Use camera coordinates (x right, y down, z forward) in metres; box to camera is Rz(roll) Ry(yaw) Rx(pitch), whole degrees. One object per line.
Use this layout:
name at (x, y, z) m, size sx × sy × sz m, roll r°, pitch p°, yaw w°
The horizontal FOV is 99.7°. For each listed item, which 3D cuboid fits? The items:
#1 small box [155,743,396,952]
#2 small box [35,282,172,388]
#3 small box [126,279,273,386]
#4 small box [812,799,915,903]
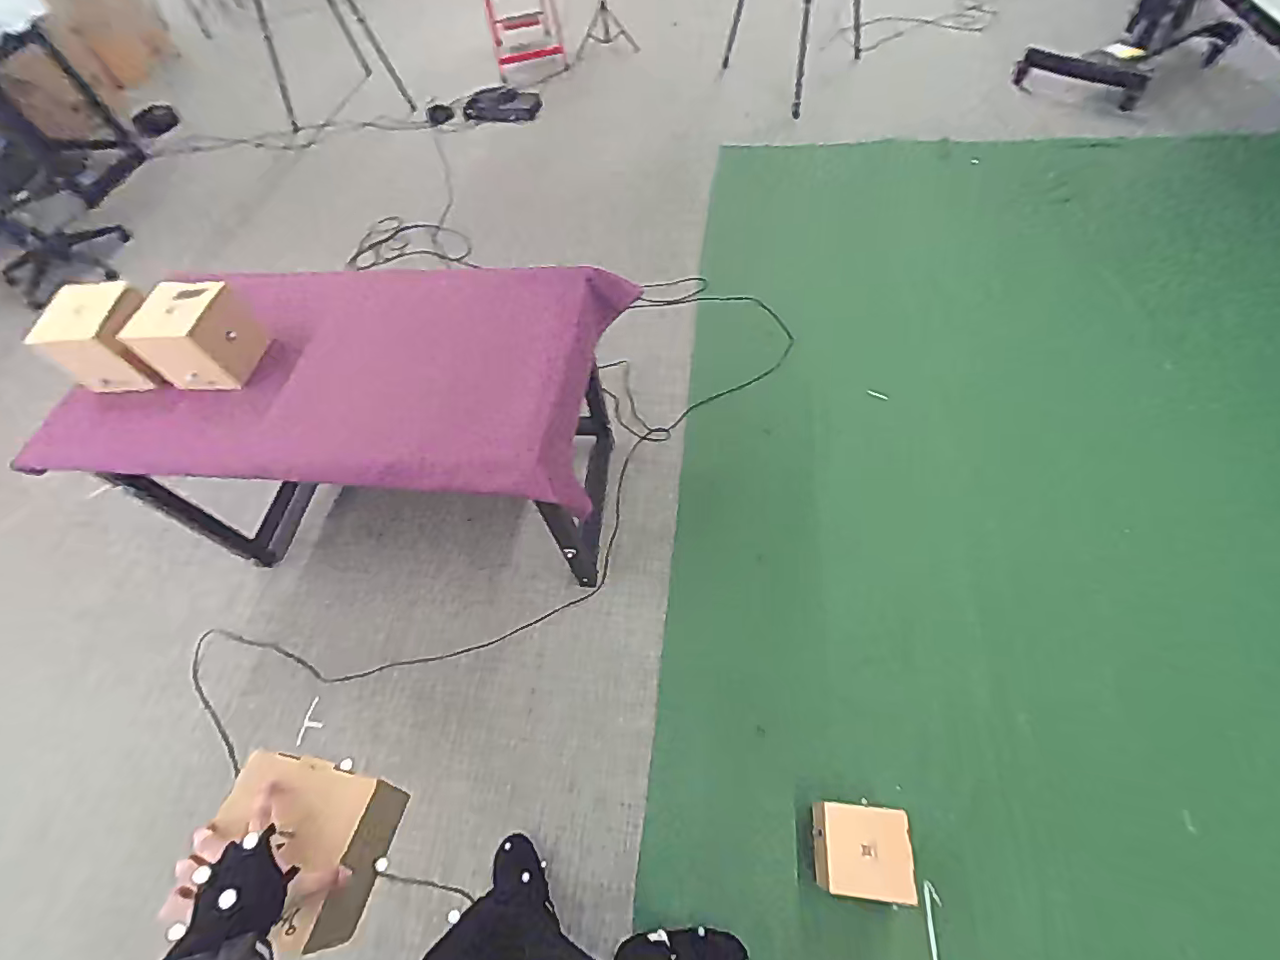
small box at (-0.440, 0.467, 0.697) m, size 0.168 × 0.176 × 0.179 m, roll 13°, pitch 54°, yaw 3°
small box at (-1.226, -0.338, 1.277) m, size 0.168 × 0.176 × 0.179 m, roll -2°, pitch 59°, yaw 6°
small box at (-1.000, -0.339, 1.249) m, size 0.168 × 0.176 × 0.179 m, roll 2°, pitch 59°, yaw 8°
small box at (0.485, 0.820, 1.205) m, size 0.179 × 0.176 × 0.168 m, roll 3°, pitch 58°, yaw 8°
